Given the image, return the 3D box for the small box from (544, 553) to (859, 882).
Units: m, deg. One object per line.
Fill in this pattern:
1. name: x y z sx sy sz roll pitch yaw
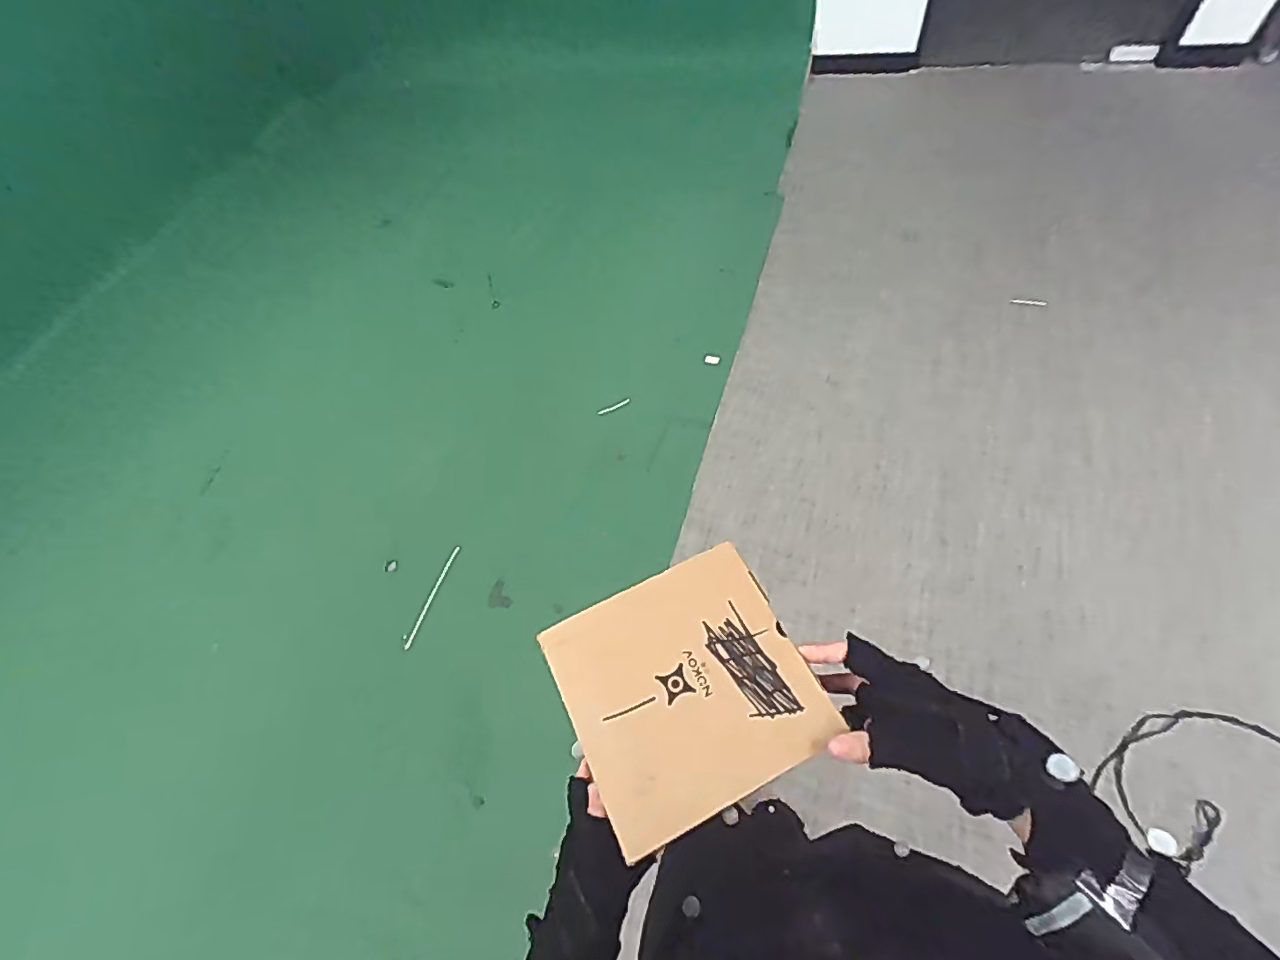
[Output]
1. small box: 0.040 0.192 0.453 0.179 0.176 0.168 -24 61 -11
